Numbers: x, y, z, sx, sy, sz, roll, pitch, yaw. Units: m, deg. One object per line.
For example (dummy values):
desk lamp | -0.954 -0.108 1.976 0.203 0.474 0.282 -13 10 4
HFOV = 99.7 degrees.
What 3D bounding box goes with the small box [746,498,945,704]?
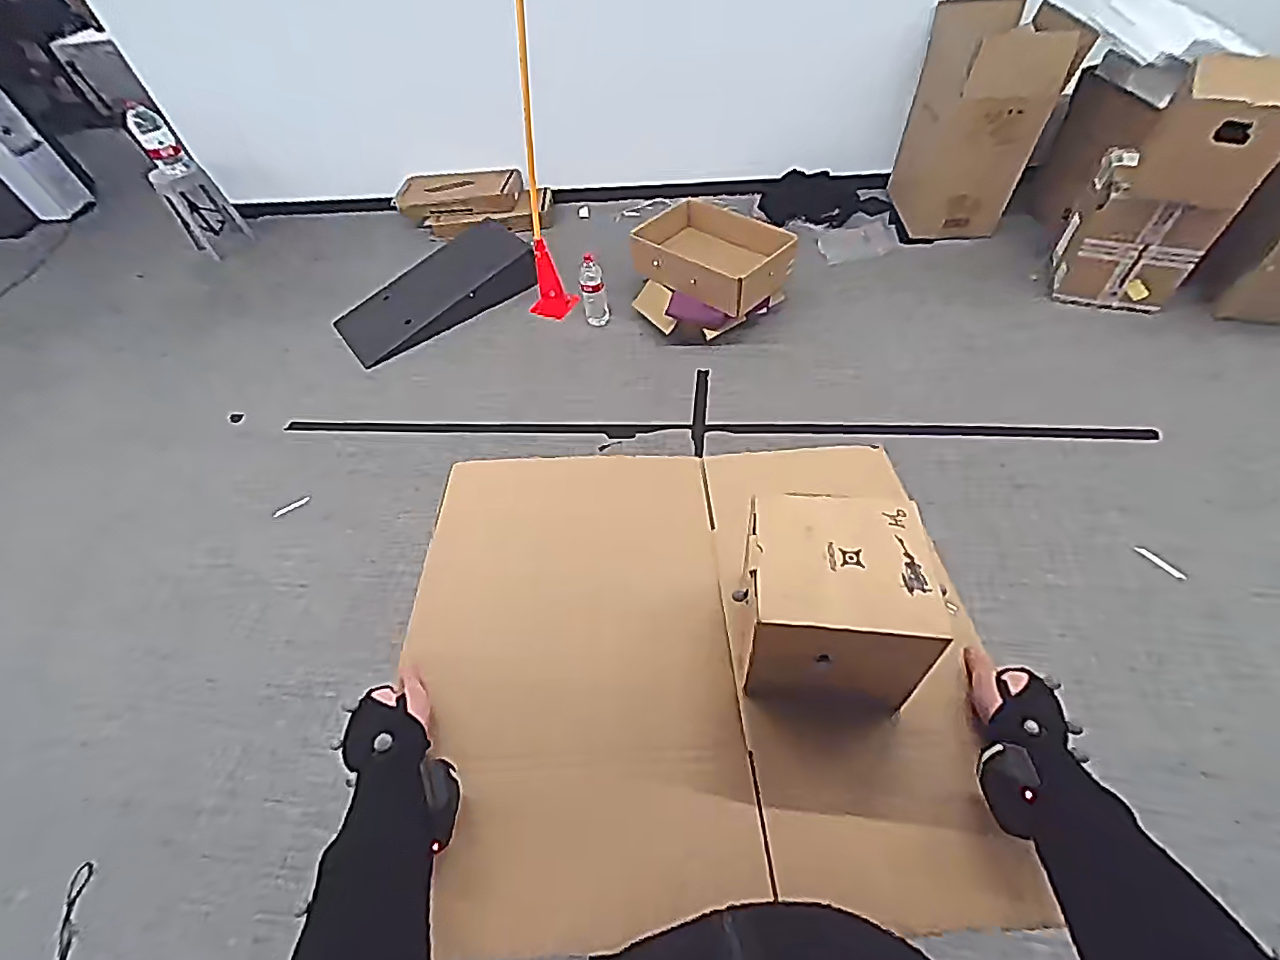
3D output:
small box | 0.212 0.138 0.614 0.179 0.176 0.168 2 48 9
